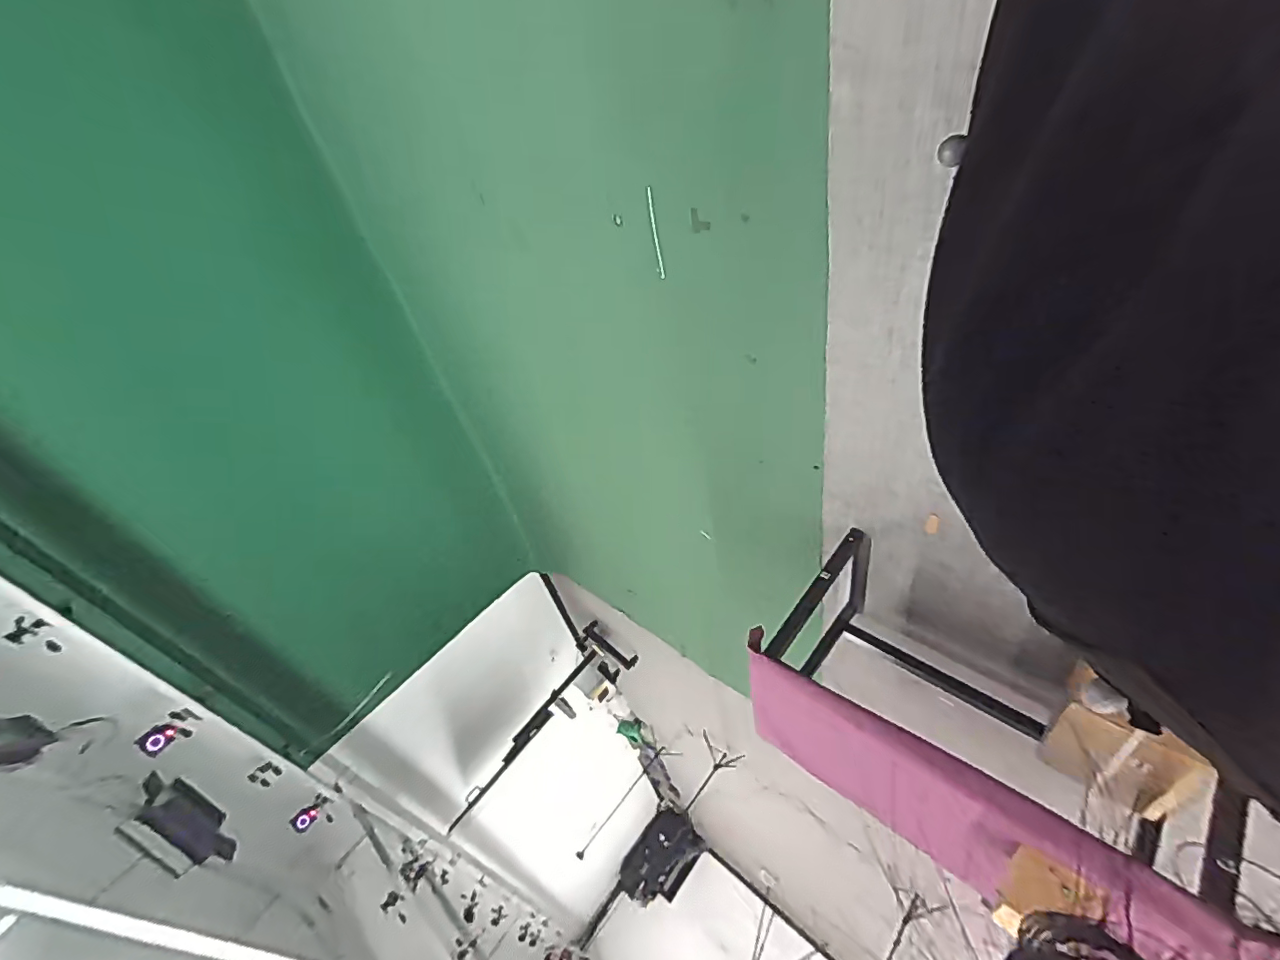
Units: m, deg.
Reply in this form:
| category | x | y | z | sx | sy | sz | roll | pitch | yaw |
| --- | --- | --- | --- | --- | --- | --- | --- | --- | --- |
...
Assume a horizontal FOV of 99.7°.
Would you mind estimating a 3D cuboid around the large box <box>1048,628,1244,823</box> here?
| category | x | y | z | sx | sy | sz | roll | pitch | yaw |
| --- | --- | --- | --- | --- | --- | --- | --- | --- | --- |
| large box | 1.518 | 0.739 | 1.648 | 0.320 | 0.320 | 0.408 | 23 | 142 | 38 |

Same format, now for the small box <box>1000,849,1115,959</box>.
| category | x | y | z | sx | sy | sz | roll | pitch | yaw |
| --- | --- | --- | --- | --- | --- | --- | --- | --- | --- |
| small box | 1.026 | 1.061 | 1.332 | 0.168 | 0.176 | 0.179 | 25 | 145 | 37 |
